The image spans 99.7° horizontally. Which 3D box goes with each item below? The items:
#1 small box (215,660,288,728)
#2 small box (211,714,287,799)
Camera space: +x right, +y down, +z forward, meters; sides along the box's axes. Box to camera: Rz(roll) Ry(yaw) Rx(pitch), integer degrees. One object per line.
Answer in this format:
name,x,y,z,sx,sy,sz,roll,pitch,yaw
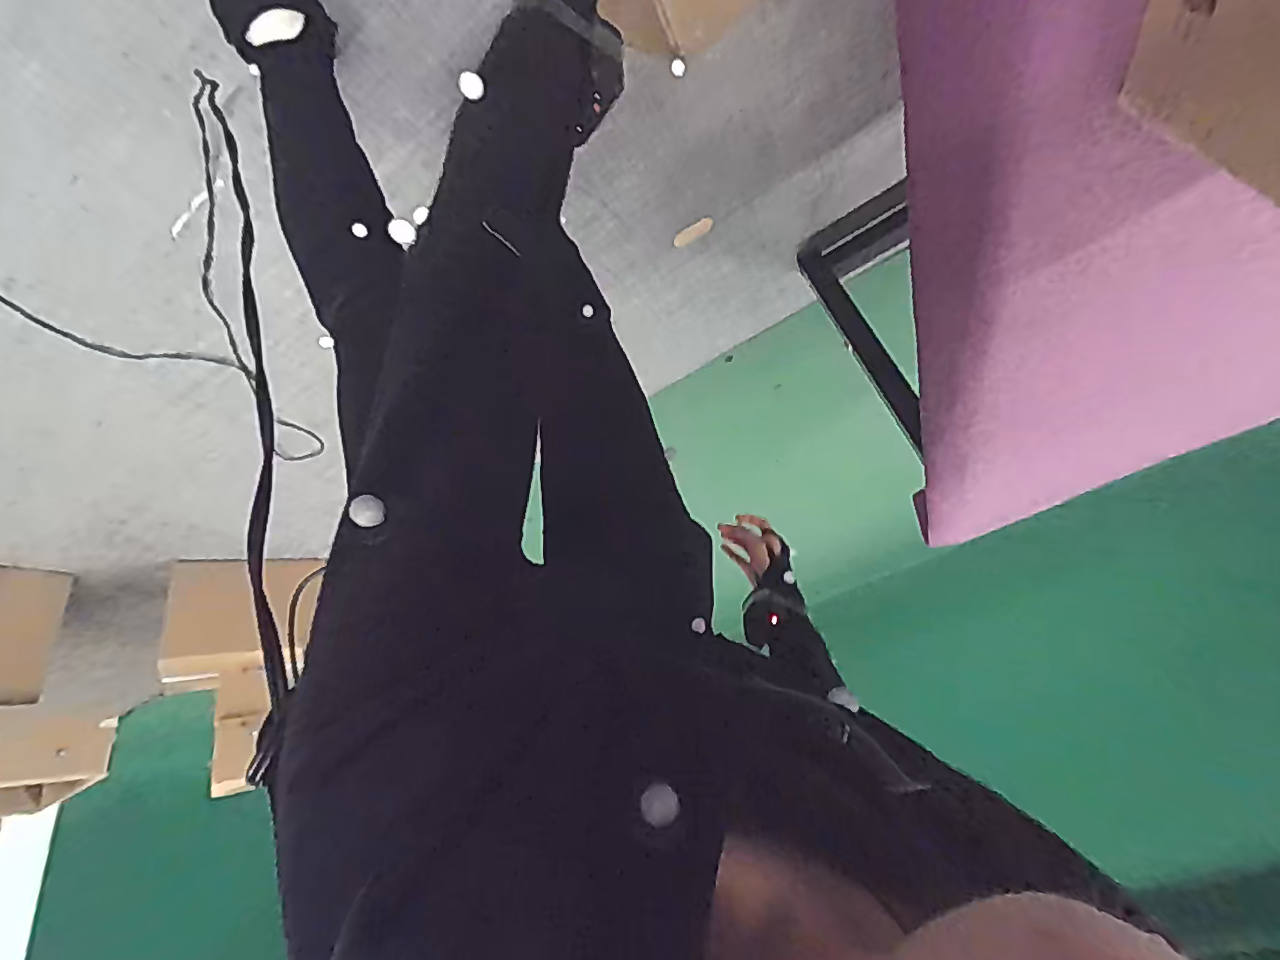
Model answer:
small box,-1.173,0.663,1.644,0.168,0.176,0.179,1,145,-32
small box,-1.123,0.792,1.555,0.168,0.176,0.179,5,142,-36
